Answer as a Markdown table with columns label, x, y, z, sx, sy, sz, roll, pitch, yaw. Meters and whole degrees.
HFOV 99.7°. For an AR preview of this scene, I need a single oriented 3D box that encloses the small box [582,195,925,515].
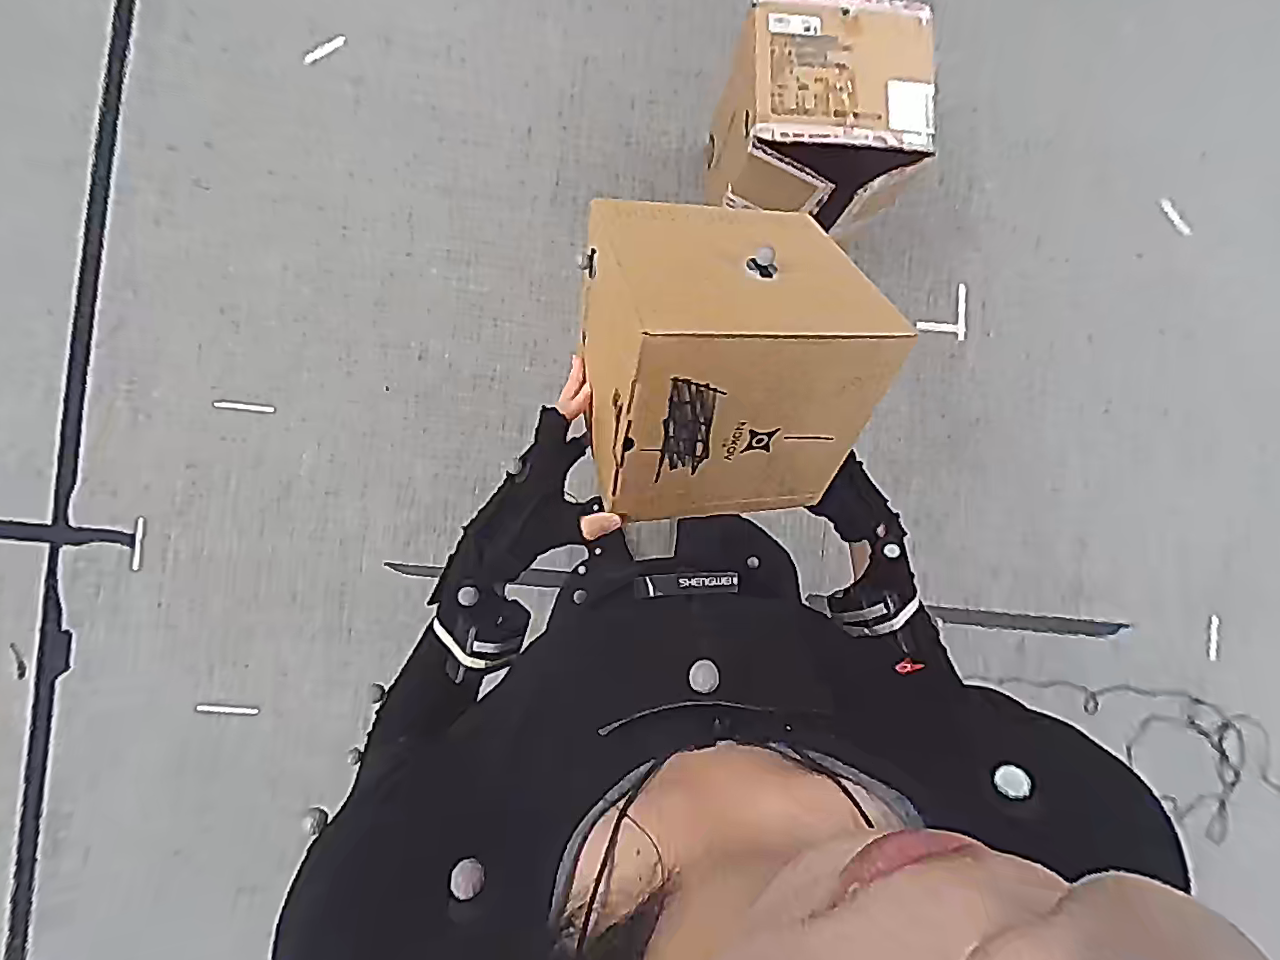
| label | x | y | z | sx | sy | sz | roll | pitch | yaw |
| --- | --- | --- | --- | --- | --- | --- | --- | --- | --- |
| small box | 0.057 | -0.094 | 0.407 | 0.179 | 0.168 | 0.176 | -4 | 50 | -16 |
